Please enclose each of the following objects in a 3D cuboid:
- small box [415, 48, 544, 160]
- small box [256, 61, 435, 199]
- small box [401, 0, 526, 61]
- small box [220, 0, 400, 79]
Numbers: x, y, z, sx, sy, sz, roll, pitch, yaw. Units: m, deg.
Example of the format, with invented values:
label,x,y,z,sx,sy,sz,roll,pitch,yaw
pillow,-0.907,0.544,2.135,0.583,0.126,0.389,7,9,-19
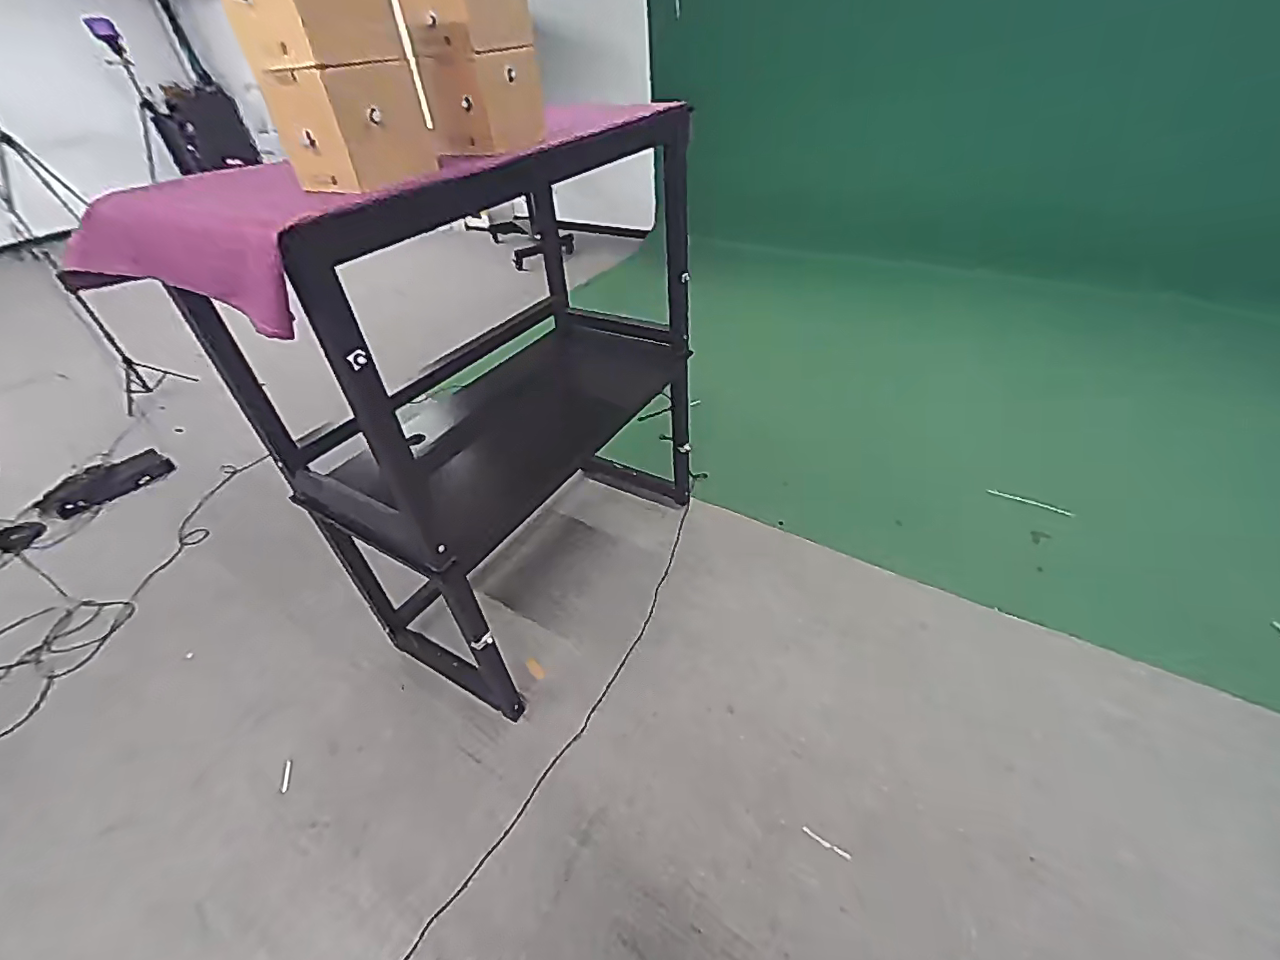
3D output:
label,x,y,z,sx,sy,sz,roll,pitch,yaw
small box,-0.318,-0.770,1.113,0.168,0.176,0.179,18,45,26
small box,-0.484,-0.588,0.915,0.168,0.176,0.179,17,46,25
small box,-0.331,-0.895,1.008,0.168,0.176,0.179,18,47,25
small box,-0.500,-0.713,0.811,0.168,0.176,0.179,16,43,25
